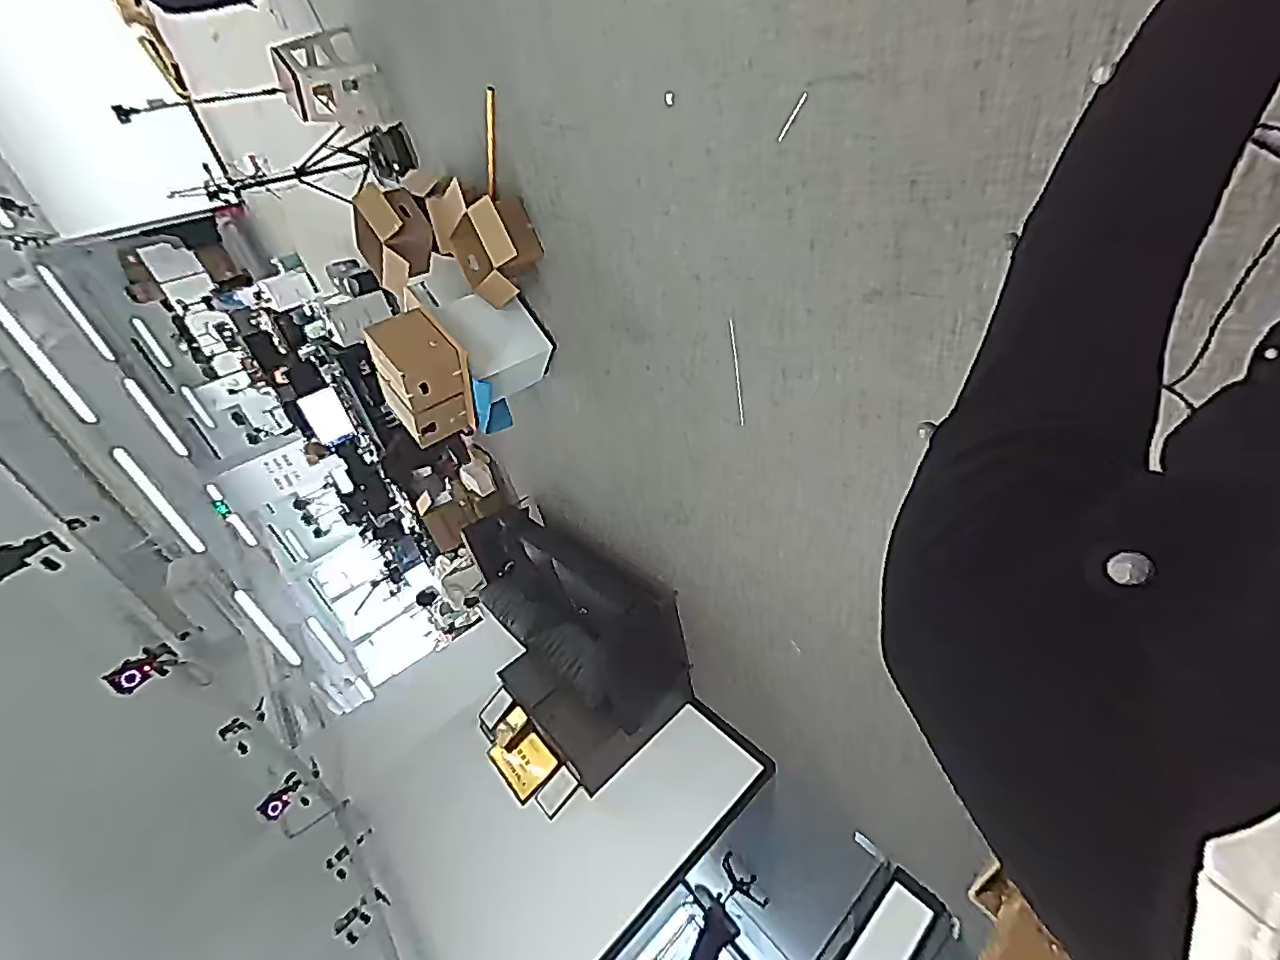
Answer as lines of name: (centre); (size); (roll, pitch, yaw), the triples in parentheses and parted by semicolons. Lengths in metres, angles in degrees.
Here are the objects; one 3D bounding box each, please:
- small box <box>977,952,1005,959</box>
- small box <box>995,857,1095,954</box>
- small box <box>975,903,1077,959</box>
small box: (0.992, 1.456, 1.482); (0.168, 0.176, 0.179); (33, 144, 35)
small box: (1.228, 1.295, 1.638); (0.168, 0.176, 0.179); (34, 144, 35)
small box: (1.112, 1.376, 1.558); (0.168, 0.176, 0.179); (34, 144, 35)
